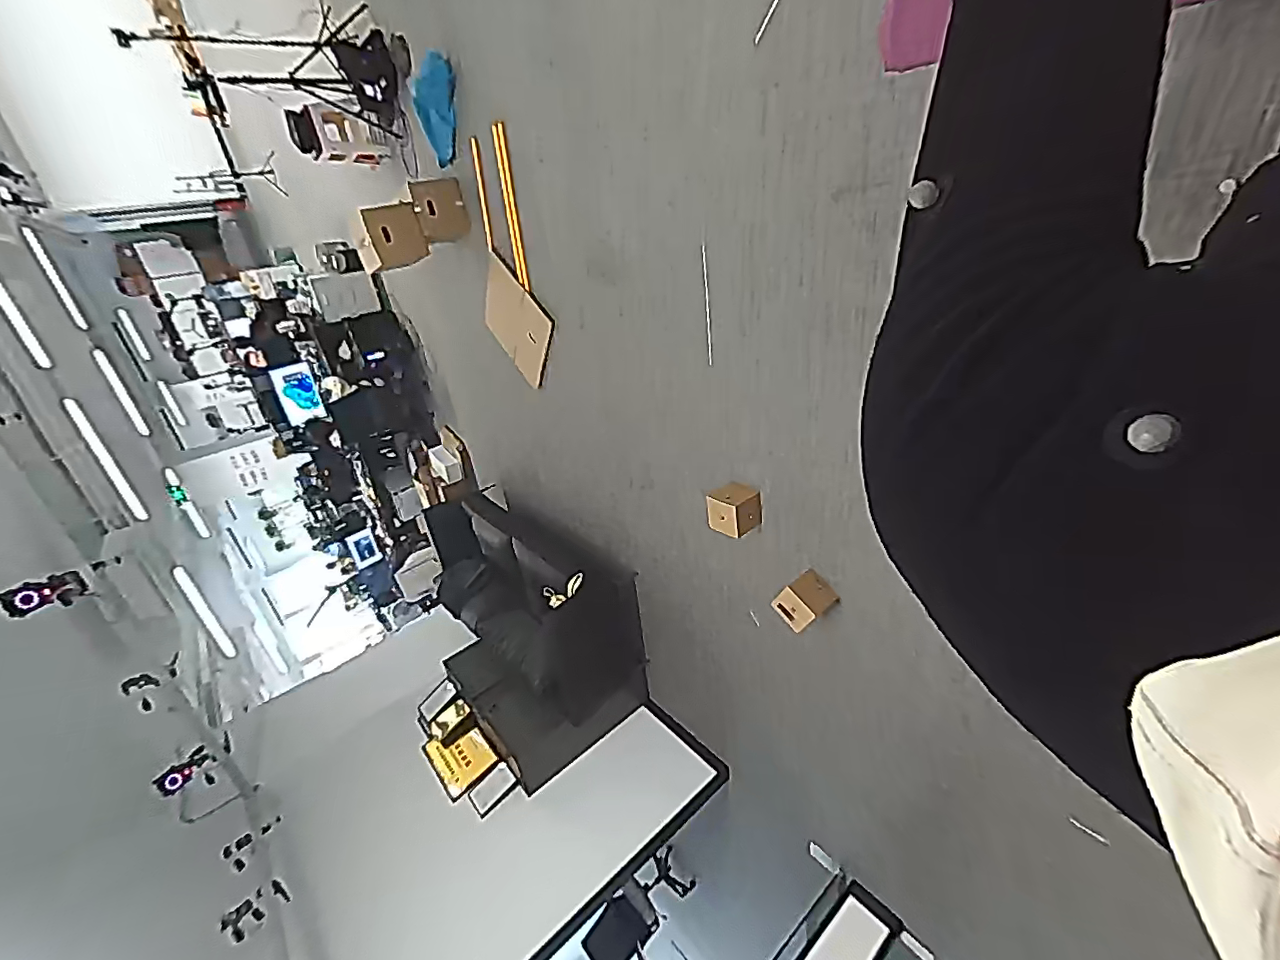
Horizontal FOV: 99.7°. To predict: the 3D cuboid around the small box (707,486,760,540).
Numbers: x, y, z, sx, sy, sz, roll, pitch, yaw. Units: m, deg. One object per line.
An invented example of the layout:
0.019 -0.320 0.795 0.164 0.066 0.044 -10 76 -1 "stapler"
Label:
0.427 0.143 2.442 0.179 0.176 0.168 21 127 47 "small box"
